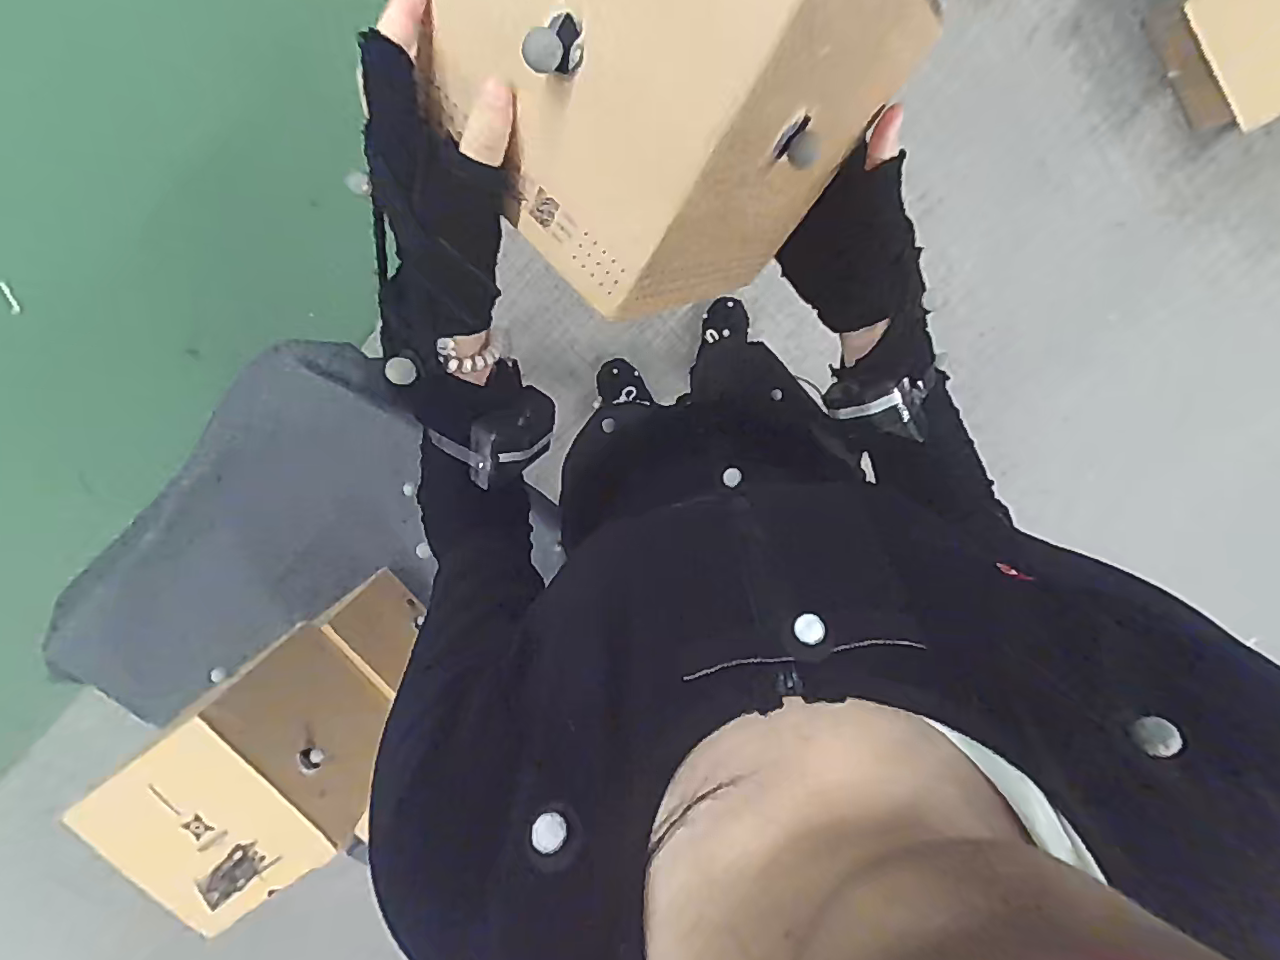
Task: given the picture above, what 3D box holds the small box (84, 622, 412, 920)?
[{"bbox_3d":[-0.375,0.284,0.559,0.168,0.176,0.179,-35,101,7],"label":"small box"}]
